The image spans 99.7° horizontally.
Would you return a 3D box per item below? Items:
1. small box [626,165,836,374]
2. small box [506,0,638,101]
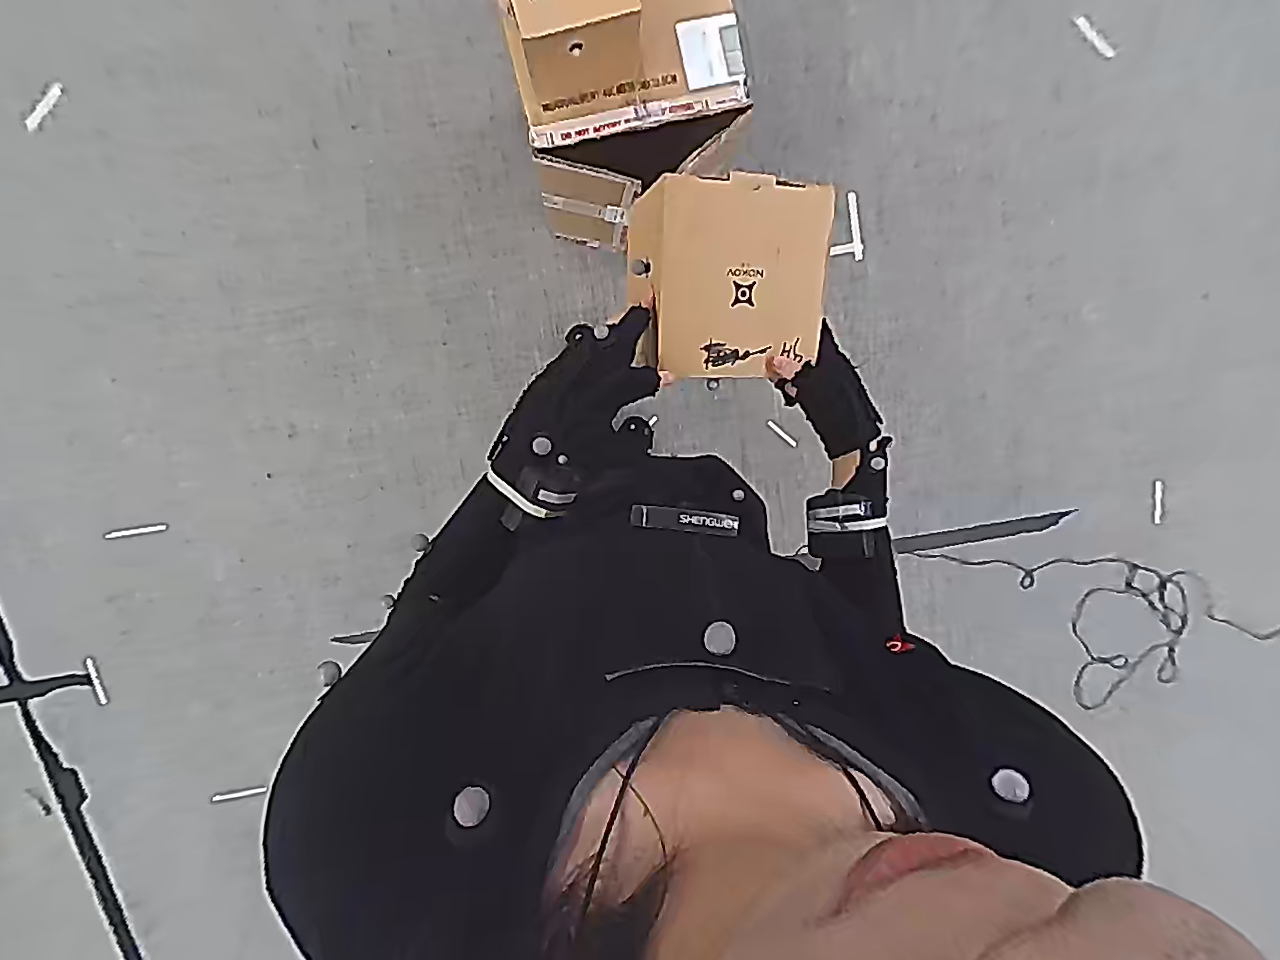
[{"bbox_3d":[0.081,-0.210,0.575,0.168,0.176,0.179,-2,108,-12],"label":"small box"},{"bbox_3d":[-0.108,-0.710,0.808,0.179,0.176,0.168,-16,99,-1],"label":"small box"}]
